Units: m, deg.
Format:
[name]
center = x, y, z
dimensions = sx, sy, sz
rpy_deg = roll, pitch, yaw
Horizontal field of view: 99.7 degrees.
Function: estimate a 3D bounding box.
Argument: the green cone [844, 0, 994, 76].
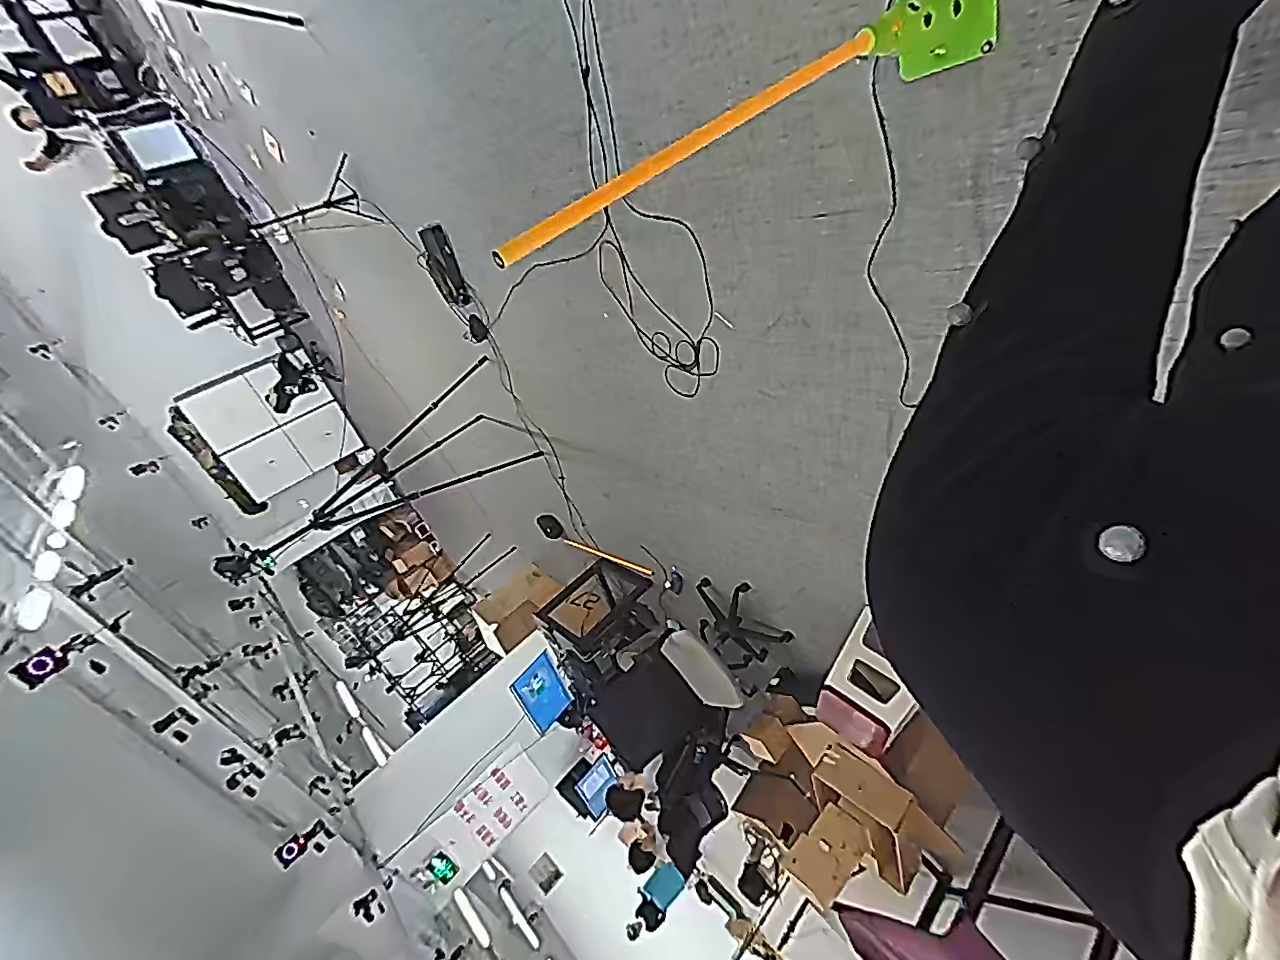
[green cone]
center = 0.528, -0.920, 1.086
dimensions = 0.202, 0.368, 0.200
rpy_deg = 17, 137, 49
